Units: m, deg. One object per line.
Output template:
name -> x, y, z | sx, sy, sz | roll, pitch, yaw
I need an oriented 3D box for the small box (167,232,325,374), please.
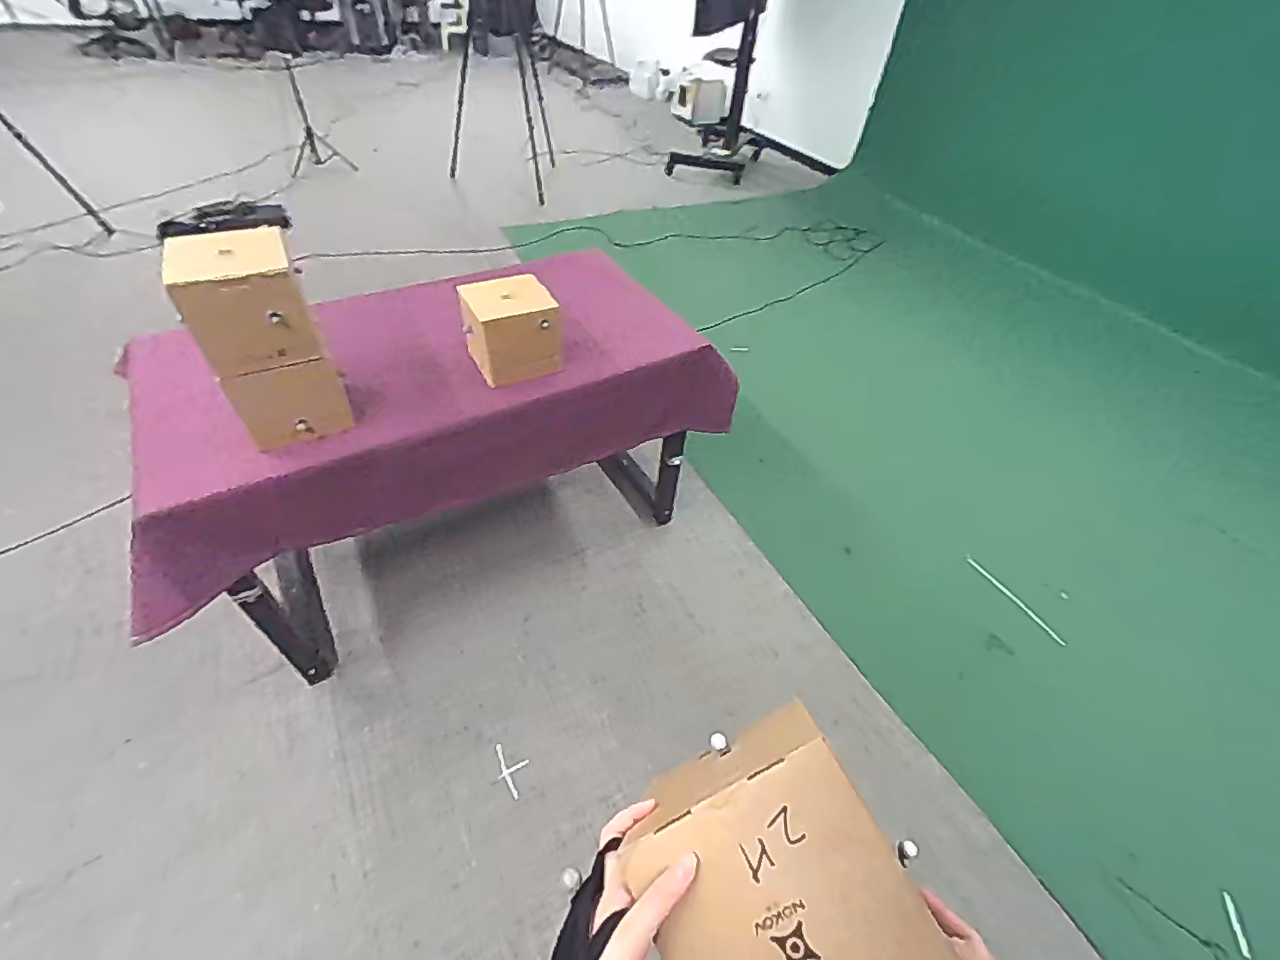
small box -> -0.665, -0.298, 0.927 | 0.168, 0.176, 0.179 | -19, 50, -22

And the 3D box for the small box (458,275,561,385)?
small box -> -0.288, -0.336, 1.223 | 0.179, 0.176, 0.168 | -20, 51, -22

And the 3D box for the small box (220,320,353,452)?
small box -> -0.673, -0.181, 1.042 | 0.179, 0.176, 0.168 | -20, 51, -23
